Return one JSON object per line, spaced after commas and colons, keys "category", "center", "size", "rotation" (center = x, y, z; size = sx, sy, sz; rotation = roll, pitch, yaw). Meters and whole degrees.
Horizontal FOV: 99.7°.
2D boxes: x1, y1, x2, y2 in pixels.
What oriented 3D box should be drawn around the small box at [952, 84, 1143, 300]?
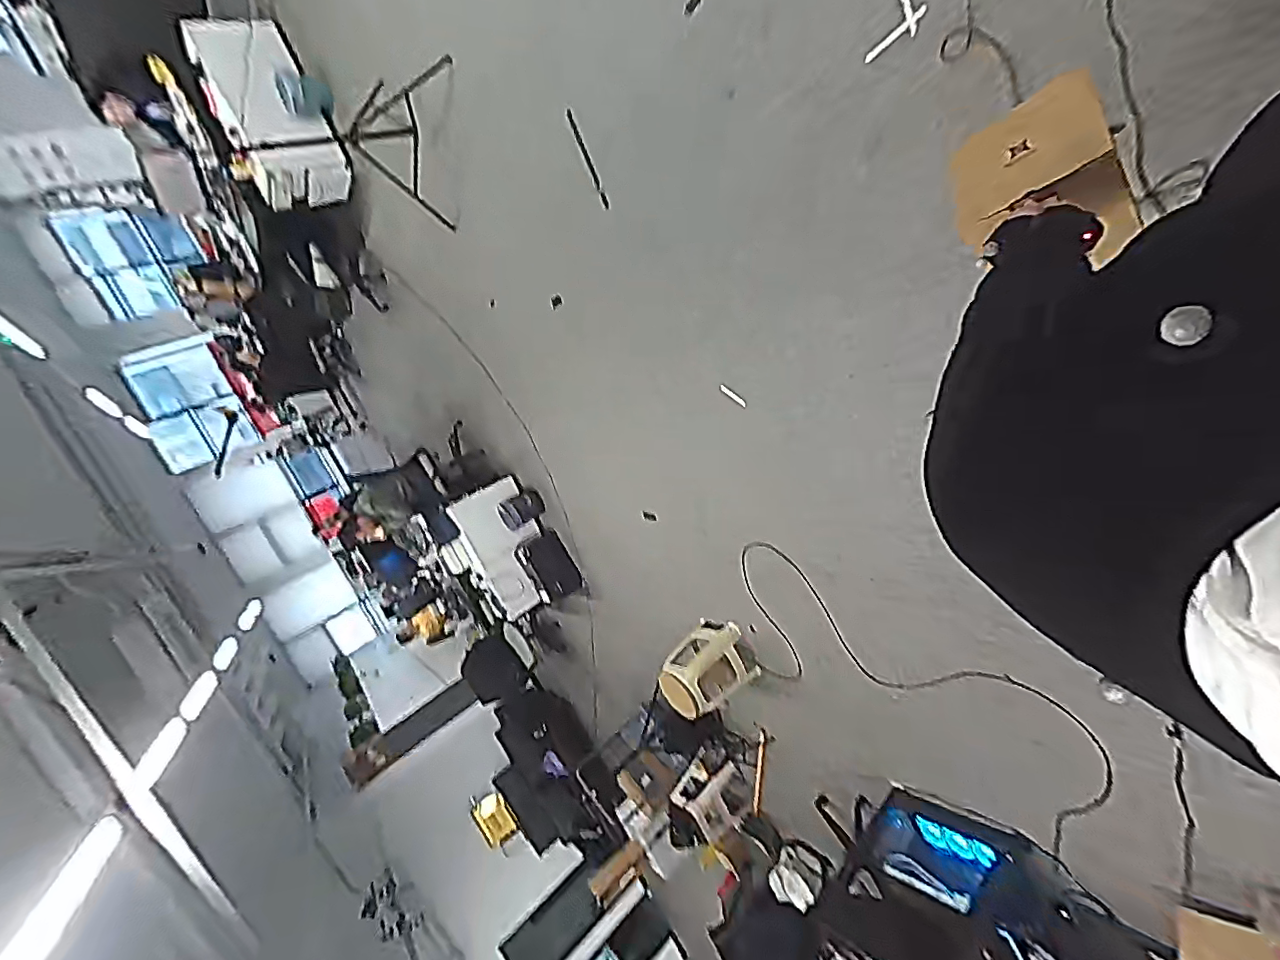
{"category": "small box", "center": [0.563, -0.381, 0.754], "size": [0.176, 0.179, 0.168], "rotation": [31, 147, -33]}
